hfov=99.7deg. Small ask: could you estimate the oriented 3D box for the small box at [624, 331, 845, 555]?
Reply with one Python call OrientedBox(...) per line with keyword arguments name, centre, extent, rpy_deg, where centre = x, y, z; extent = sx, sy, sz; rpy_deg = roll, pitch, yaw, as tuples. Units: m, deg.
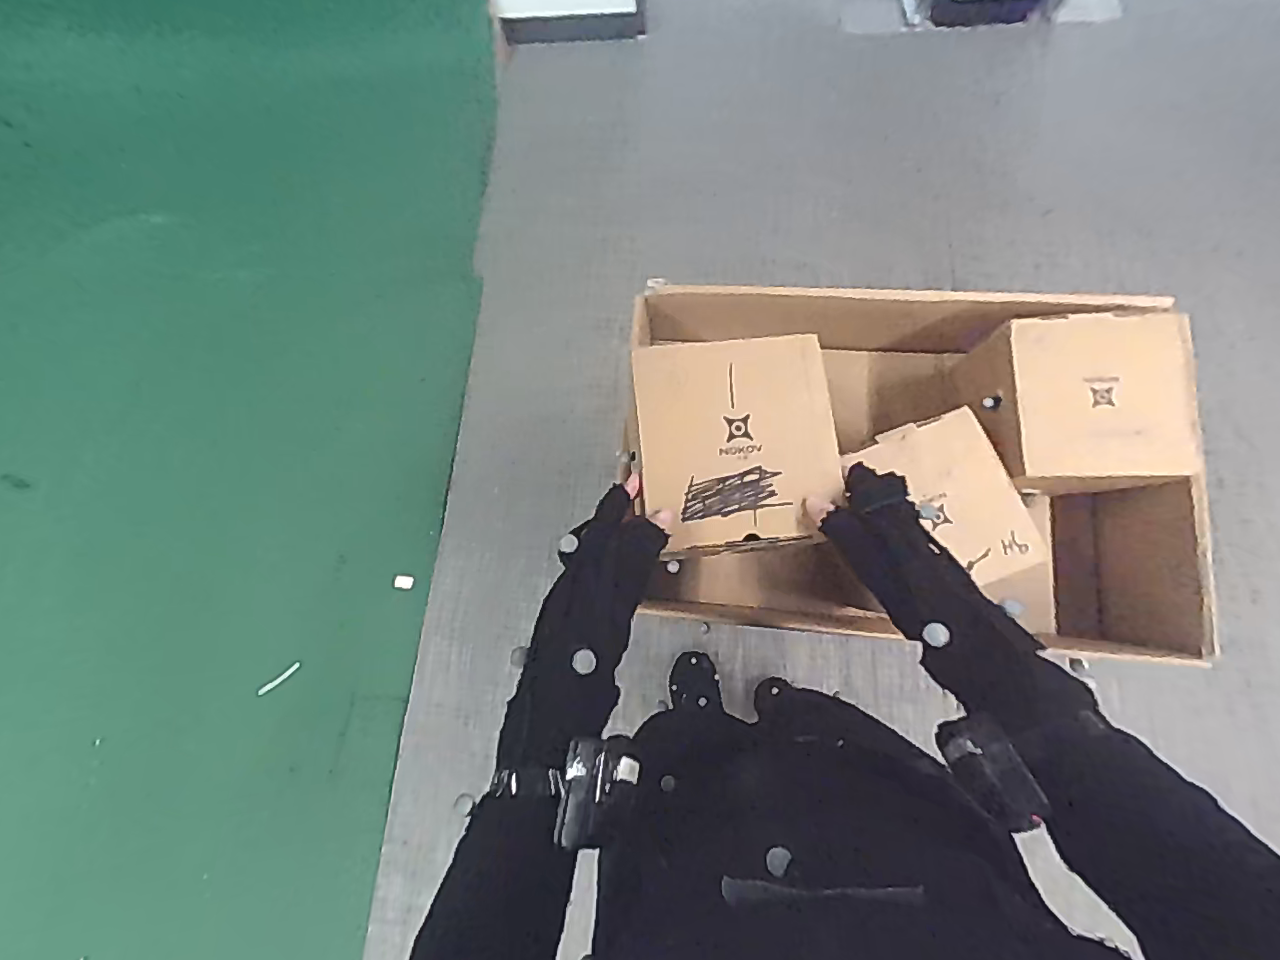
OrientedBox(name="small box", centre=(0.074, -0.022, 0.521), extent=(0.168, 0.176, 0.179), rpy_deg=(-5, 79, -3))
